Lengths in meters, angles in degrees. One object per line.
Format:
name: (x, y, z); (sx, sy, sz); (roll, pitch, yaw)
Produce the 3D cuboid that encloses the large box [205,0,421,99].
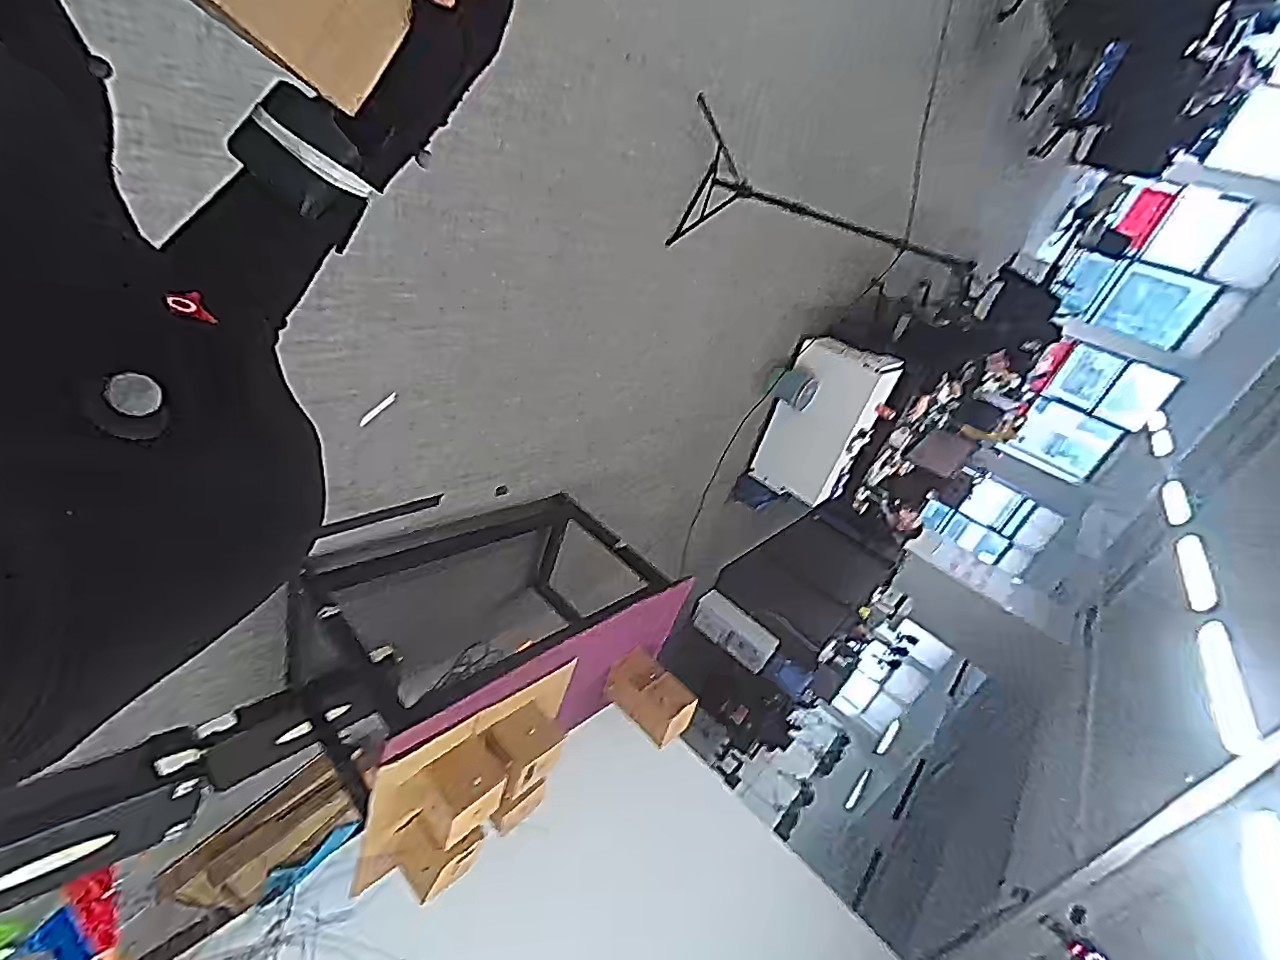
large box: (-0.286, -0.494, 0.239); (0.320, 0.320, 0.408); (-51, 151, 9)
